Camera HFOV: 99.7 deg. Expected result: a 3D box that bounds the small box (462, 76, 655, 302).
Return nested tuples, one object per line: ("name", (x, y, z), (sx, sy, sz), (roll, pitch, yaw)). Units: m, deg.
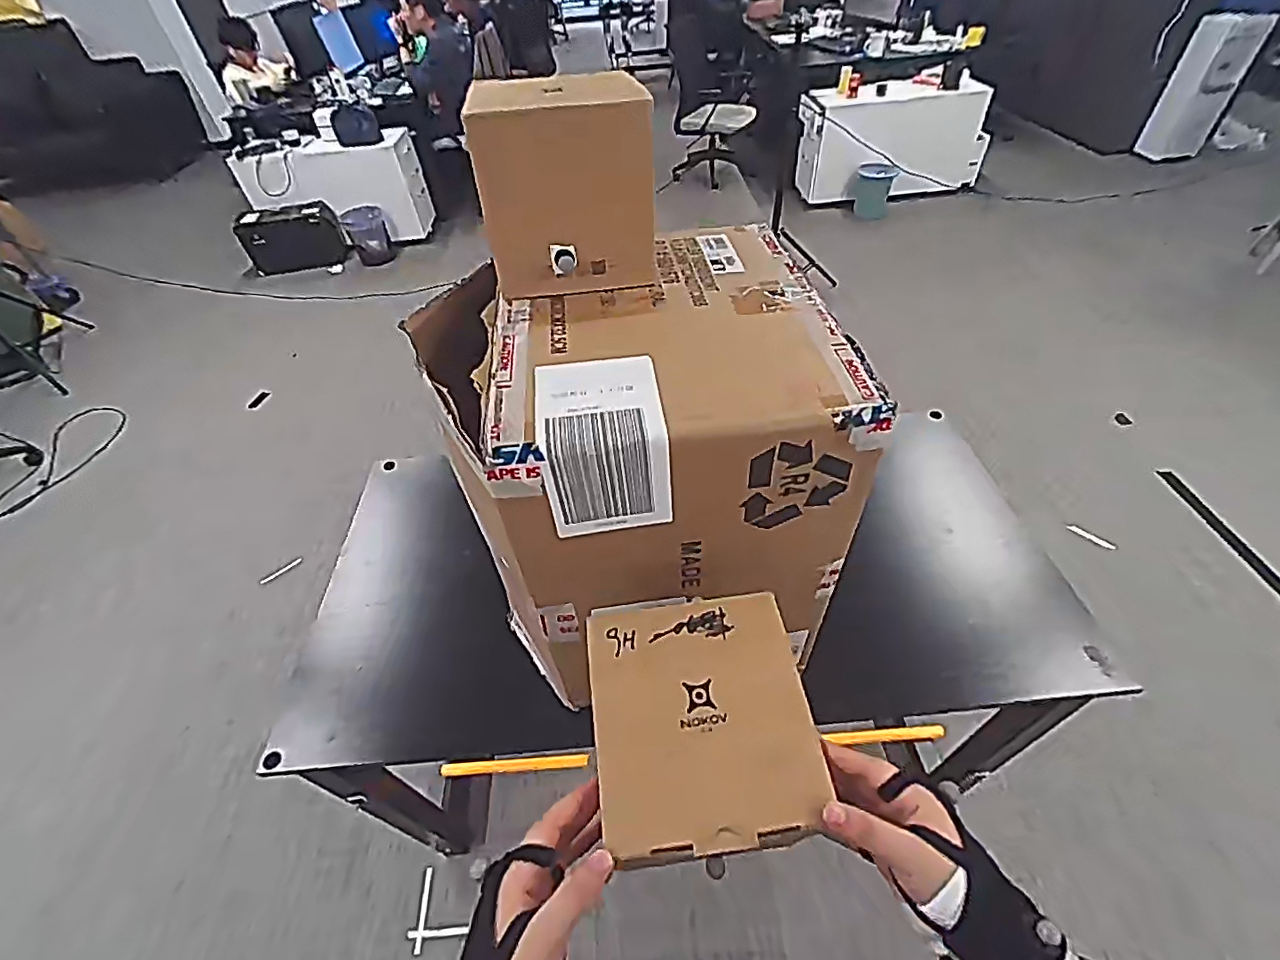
("small box", (-0.080, -0.311, 0.577), (0.168, 0.176, 0.179), (-9, 45, -5))
